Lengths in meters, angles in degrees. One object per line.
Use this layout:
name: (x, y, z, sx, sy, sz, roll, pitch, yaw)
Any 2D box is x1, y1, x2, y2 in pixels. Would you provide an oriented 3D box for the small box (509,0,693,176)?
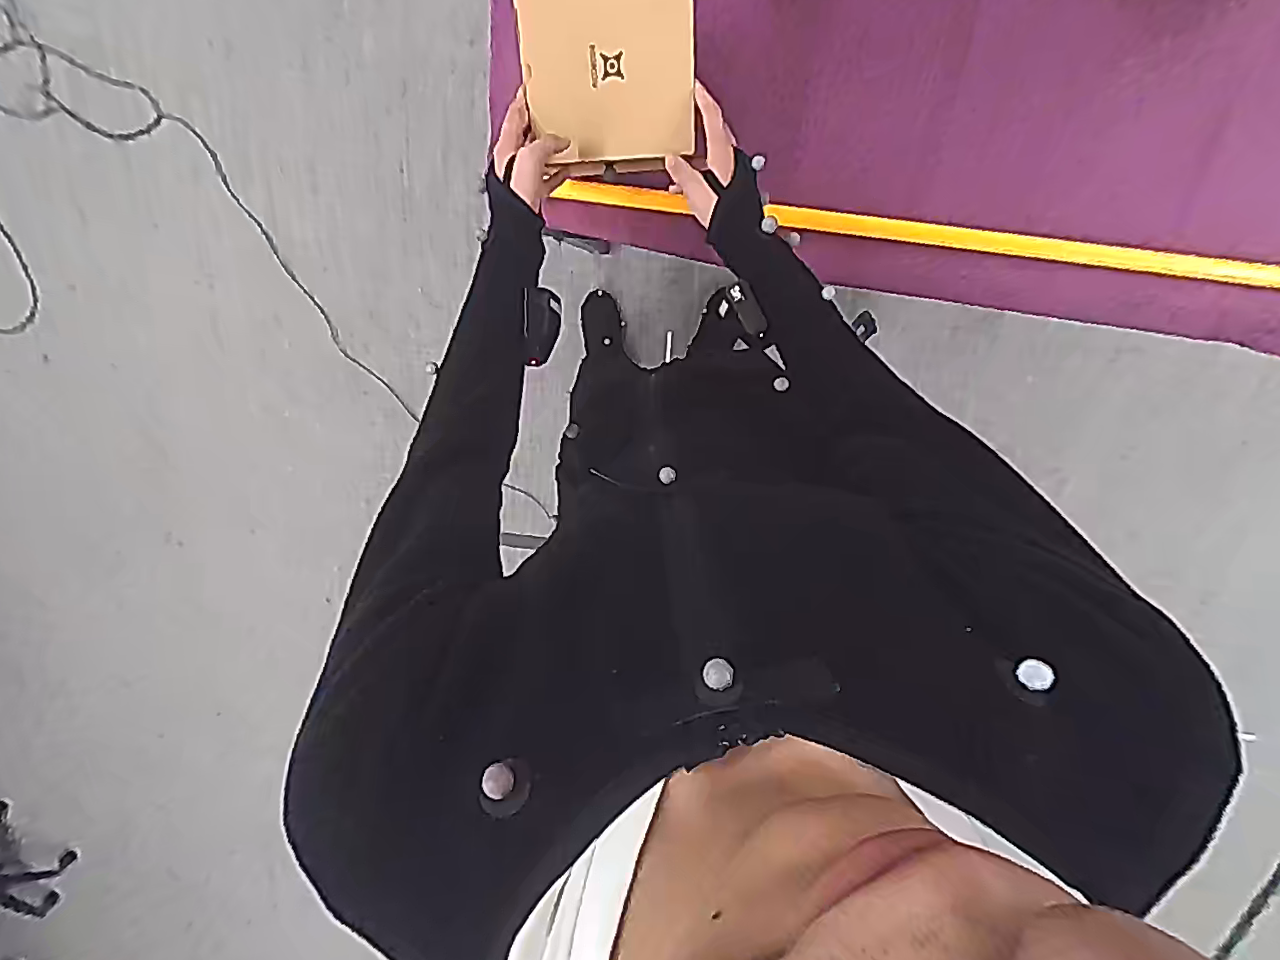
small box: (-0.035, -0.444, 0.608, 0.179, 0.176, 0.168, -2, 116, 3)
